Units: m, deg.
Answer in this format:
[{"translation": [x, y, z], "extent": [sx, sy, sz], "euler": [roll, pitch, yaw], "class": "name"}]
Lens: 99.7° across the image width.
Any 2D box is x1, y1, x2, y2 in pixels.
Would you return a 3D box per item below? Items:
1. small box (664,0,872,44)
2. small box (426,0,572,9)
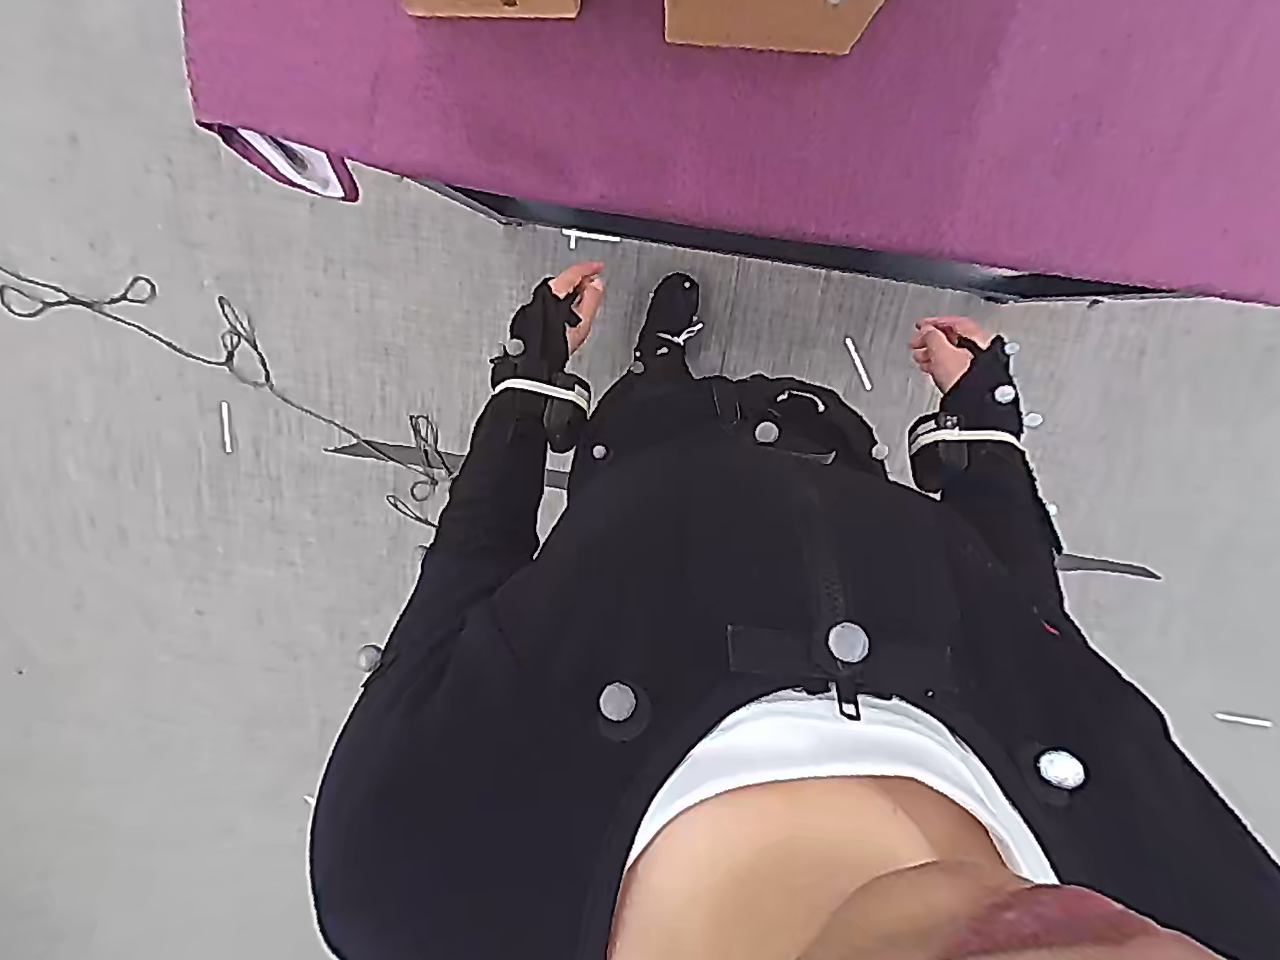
[{"translation": [0.113, -0.467, 0.409], "extent": [0.179, 0.176, 0.168], "euler": [5, 107, 1], "class": "small box"}, {"translation": [-0.141, -0.503, 0.414], "extent": [0.168, 0.176, 0.179], "euler": [2, 107, 2], "class": "small box"}]
